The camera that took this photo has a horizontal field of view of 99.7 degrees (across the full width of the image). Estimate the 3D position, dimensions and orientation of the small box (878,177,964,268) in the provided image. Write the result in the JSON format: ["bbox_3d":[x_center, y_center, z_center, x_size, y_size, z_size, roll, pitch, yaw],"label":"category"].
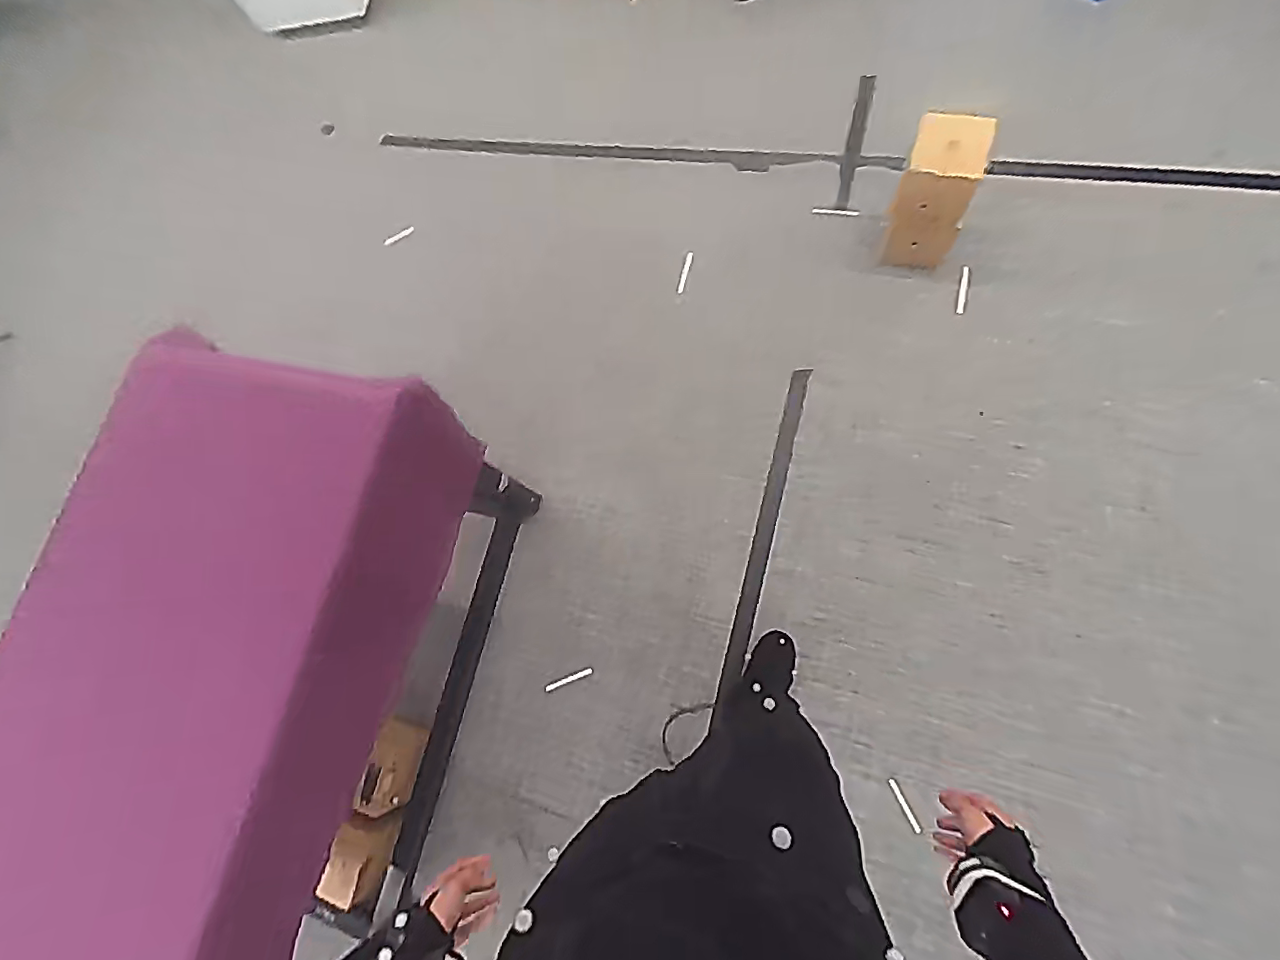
[{"bbox_3d":[0.787,-0.716,1.514,0.179,0.176,0.168,11,78,15],"label":"small box"}]

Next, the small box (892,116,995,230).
[{"bbox_3d":[0.755,-0.770,1.363,0.168,0.176,0.179,16,80,14],"label":"small box"}]
